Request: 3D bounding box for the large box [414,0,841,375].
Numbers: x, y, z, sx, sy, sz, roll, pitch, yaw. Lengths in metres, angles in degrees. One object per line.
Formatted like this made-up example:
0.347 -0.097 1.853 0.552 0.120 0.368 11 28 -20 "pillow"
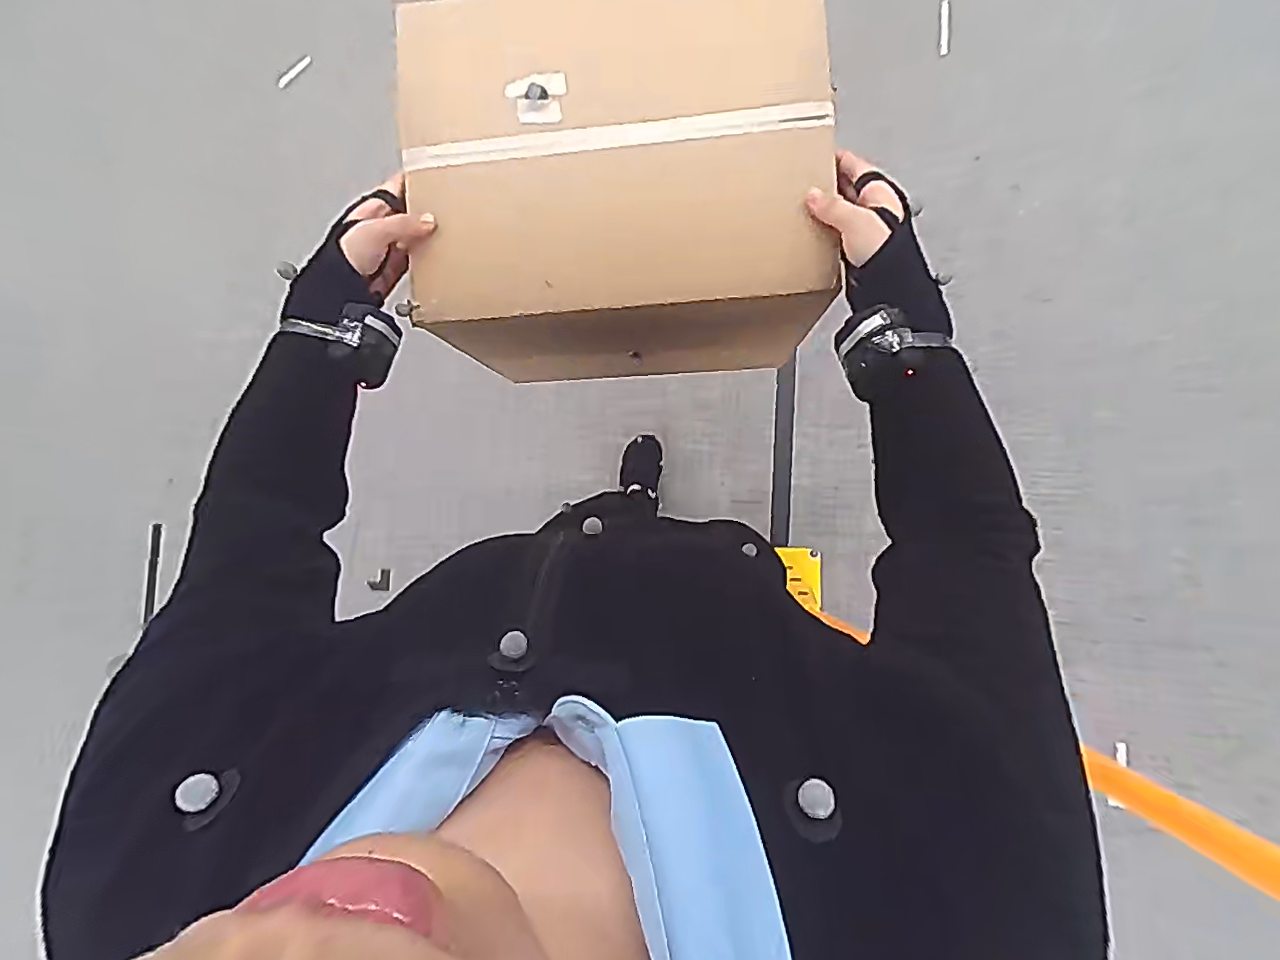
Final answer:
-0.004 -0.321 0.663 0.408 0.320 0.320 -3 88 6 "large box"
